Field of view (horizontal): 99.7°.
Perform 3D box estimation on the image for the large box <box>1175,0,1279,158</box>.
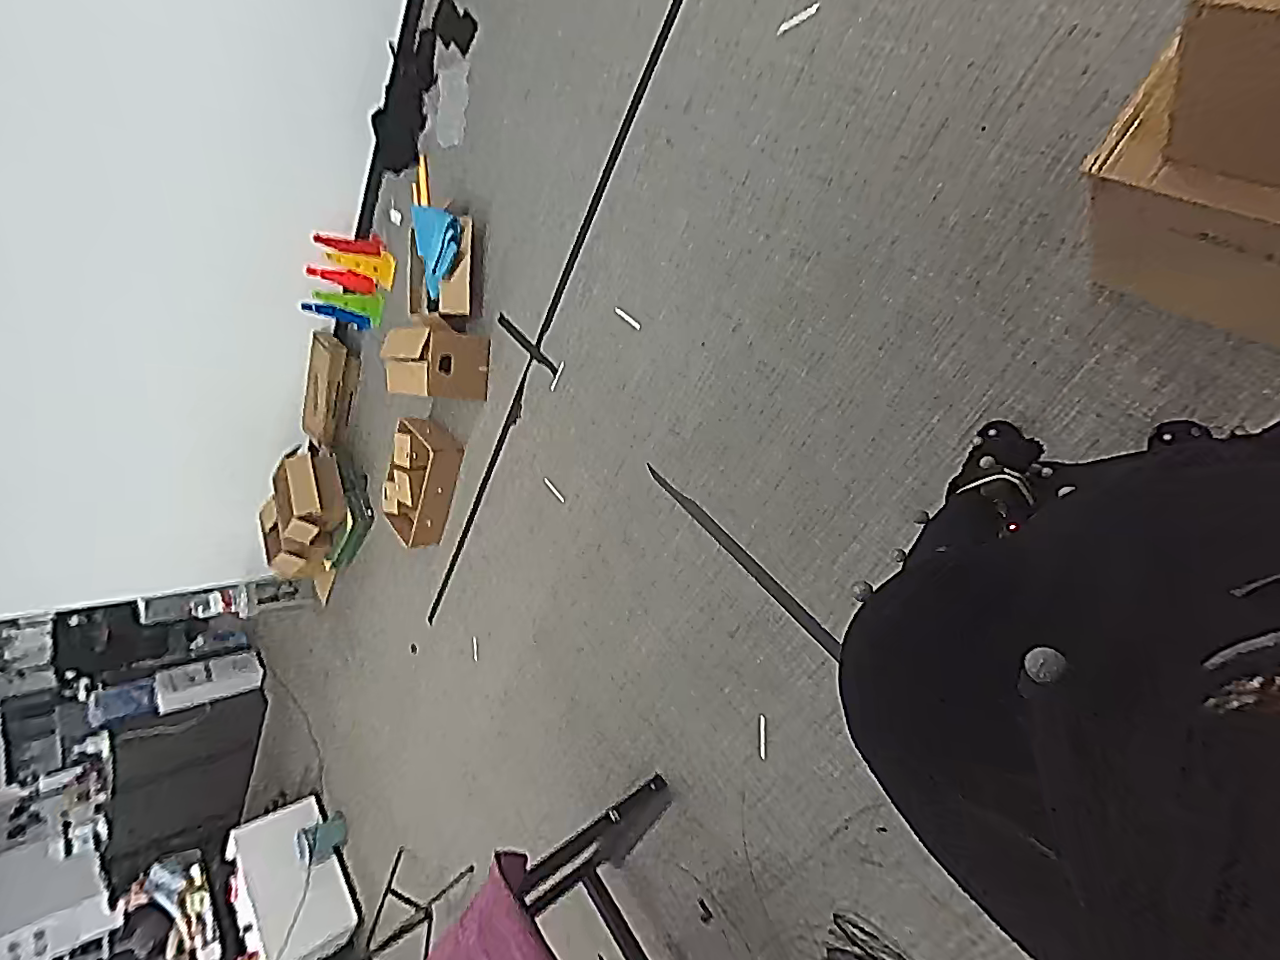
[{"bbox_3d":[0.736,-0.424,0.382,0.408,0.320,0.320,42,119,31],"label":"large box"}]
